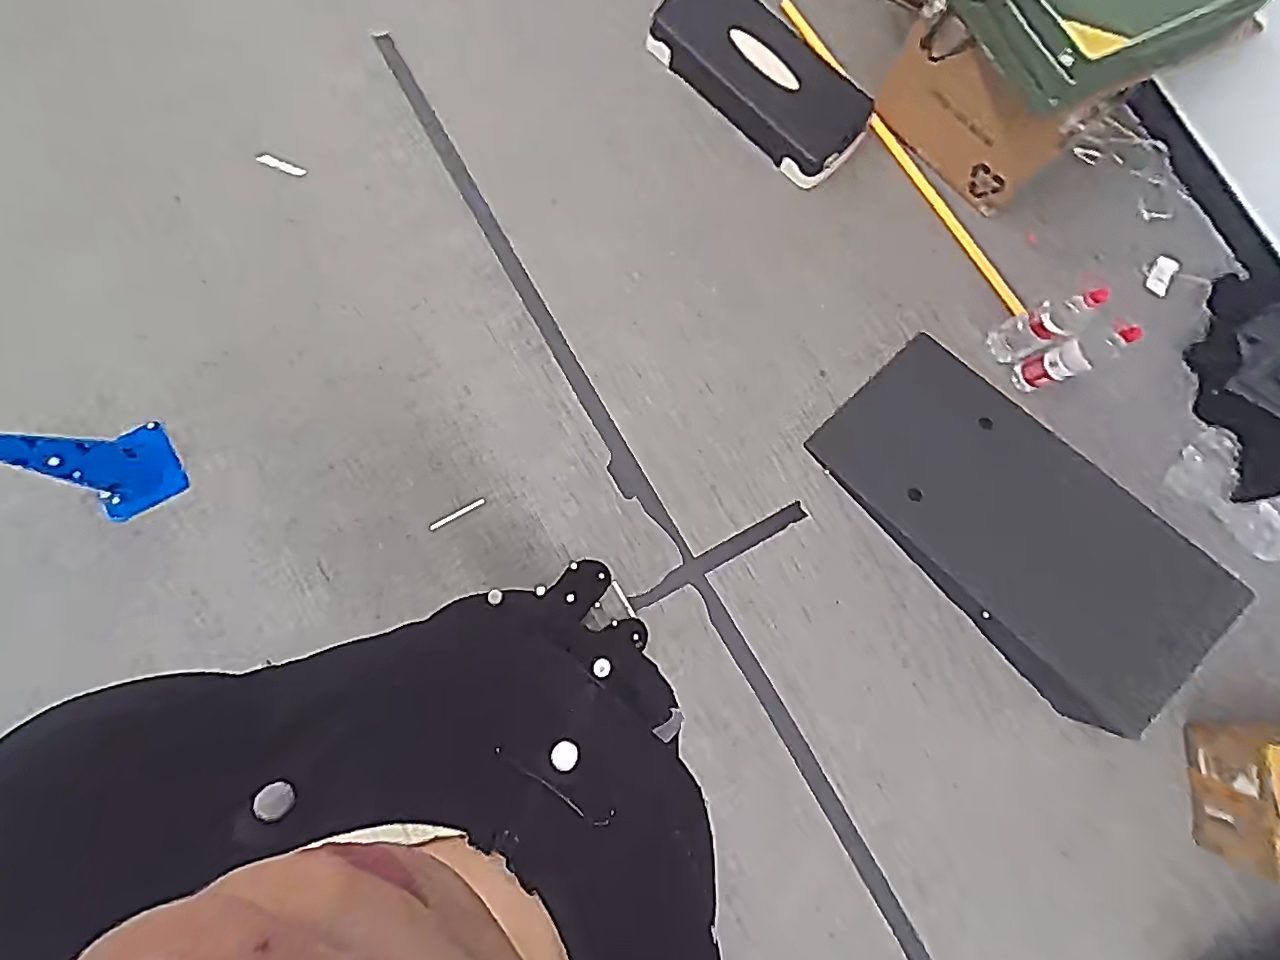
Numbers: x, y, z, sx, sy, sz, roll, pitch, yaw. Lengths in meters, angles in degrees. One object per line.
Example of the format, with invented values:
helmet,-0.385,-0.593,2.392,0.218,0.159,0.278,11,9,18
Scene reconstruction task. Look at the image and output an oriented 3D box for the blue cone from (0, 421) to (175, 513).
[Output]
blue cone,-1.251,-0.053,1.169,0.193,0.380,0.192,-28,84,-7
